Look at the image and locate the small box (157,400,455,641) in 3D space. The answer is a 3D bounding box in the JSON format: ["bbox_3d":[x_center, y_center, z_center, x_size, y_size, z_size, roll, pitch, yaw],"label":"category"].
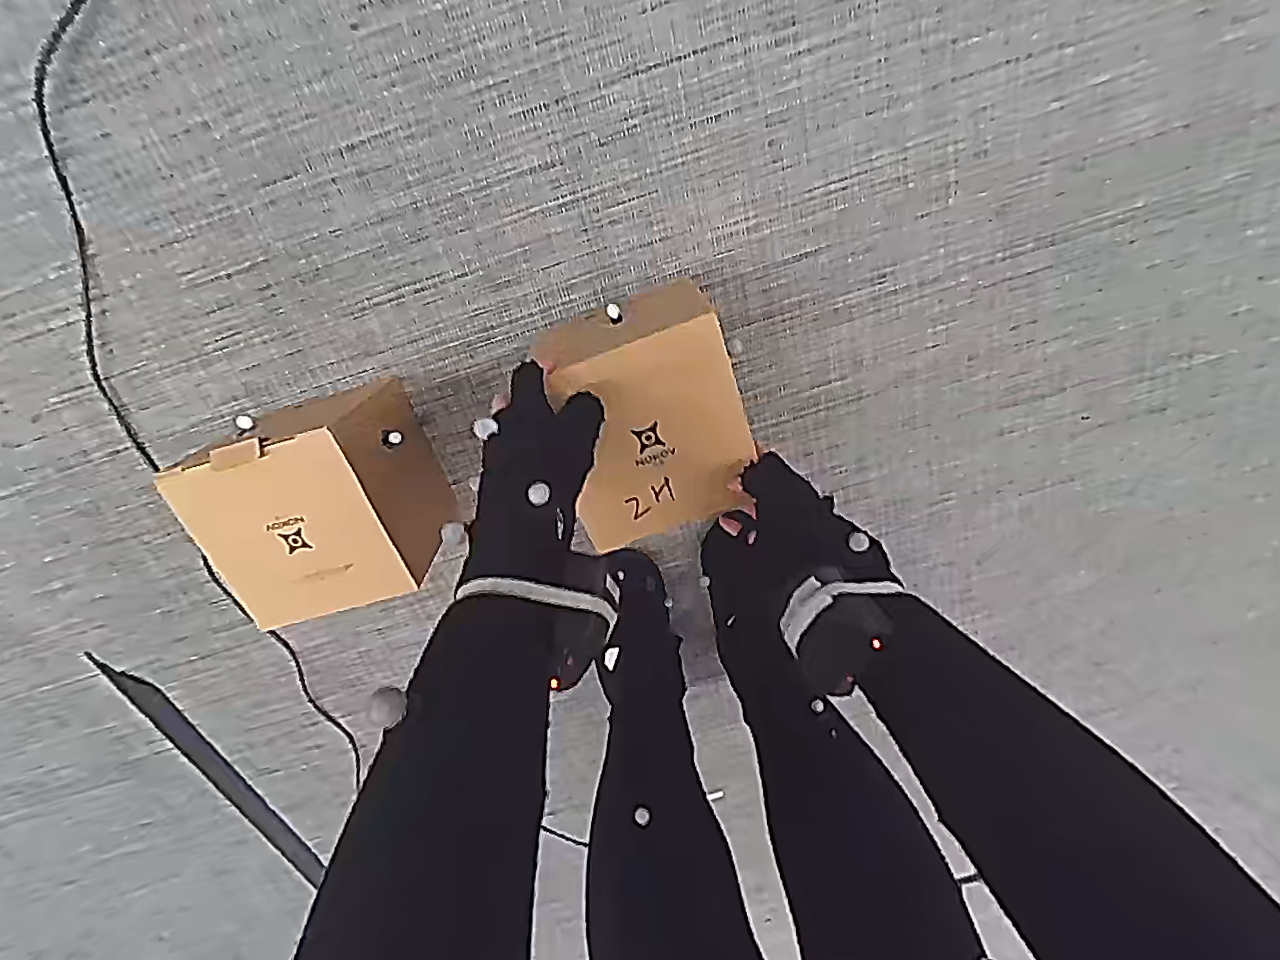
[{"bbox_3d":[-0.315,0.028,0.558,0.168,0.176,0.179,-15,116,3],"label":"small box"}]

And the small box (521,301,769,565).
[{"bbox_3d":[0.005,-0.056,0.514,0.168,0.176,0.179,-19,119,8],"label":"small box"}]
